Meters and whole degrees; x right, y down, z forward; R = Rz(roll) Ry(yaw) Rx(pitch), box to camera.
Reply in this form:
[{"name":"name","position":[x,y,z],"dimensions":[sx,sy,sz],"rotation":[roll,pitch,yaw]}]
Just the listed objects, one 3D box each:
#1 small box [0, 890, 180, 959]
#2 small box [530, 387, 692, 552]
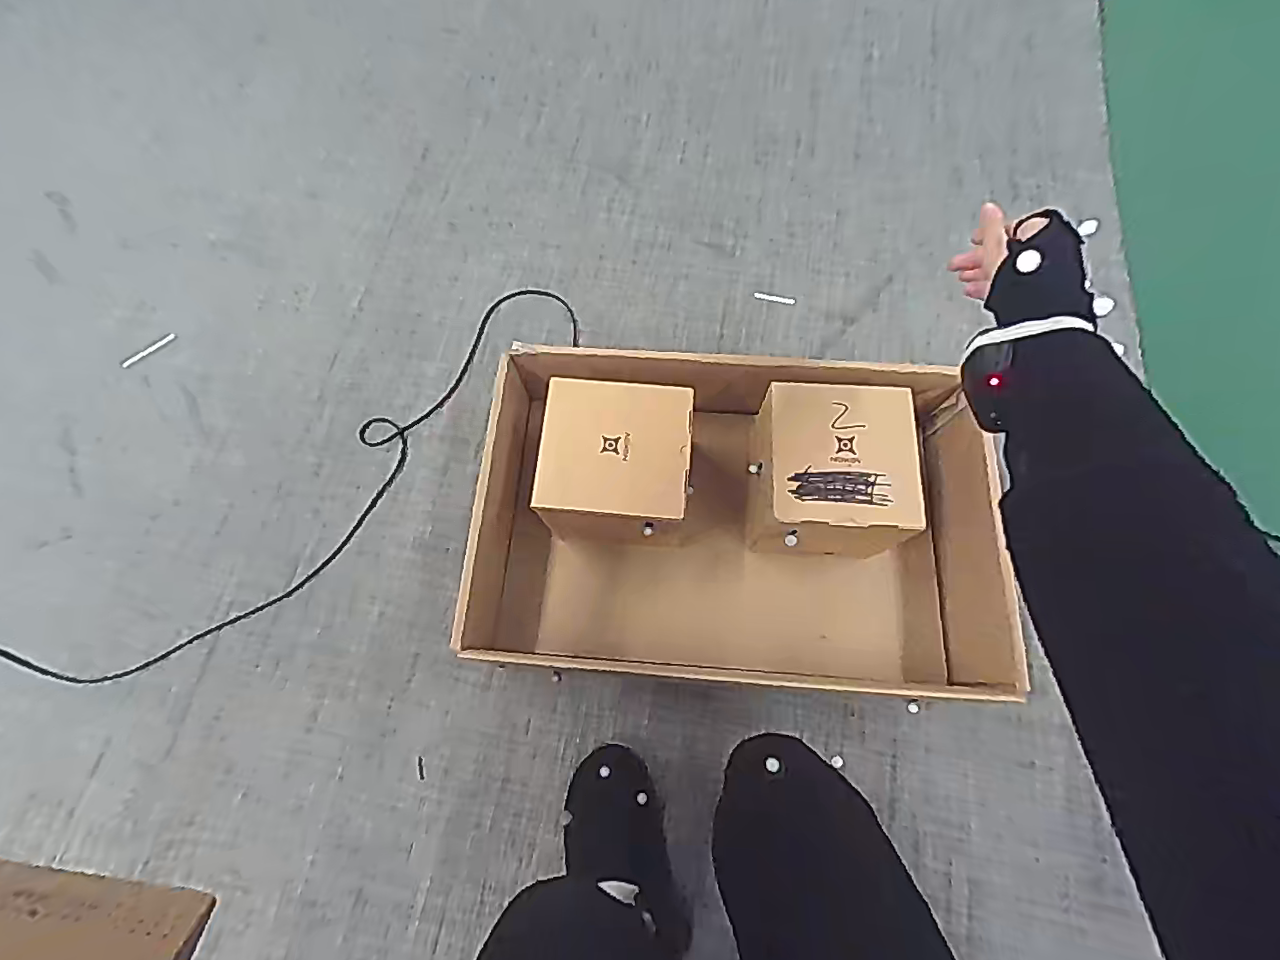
[{"name":"small box","position":[-0.287,0.253,0.157],"dimensions":[0.168,0.176,0.179],"rotation":[23,77,-14]},{"name":"small box","position":[-0.029,-0.005,0.704],"dimensions":[0.179,0.176,0.168],"rotation":[4,72,2]}]
